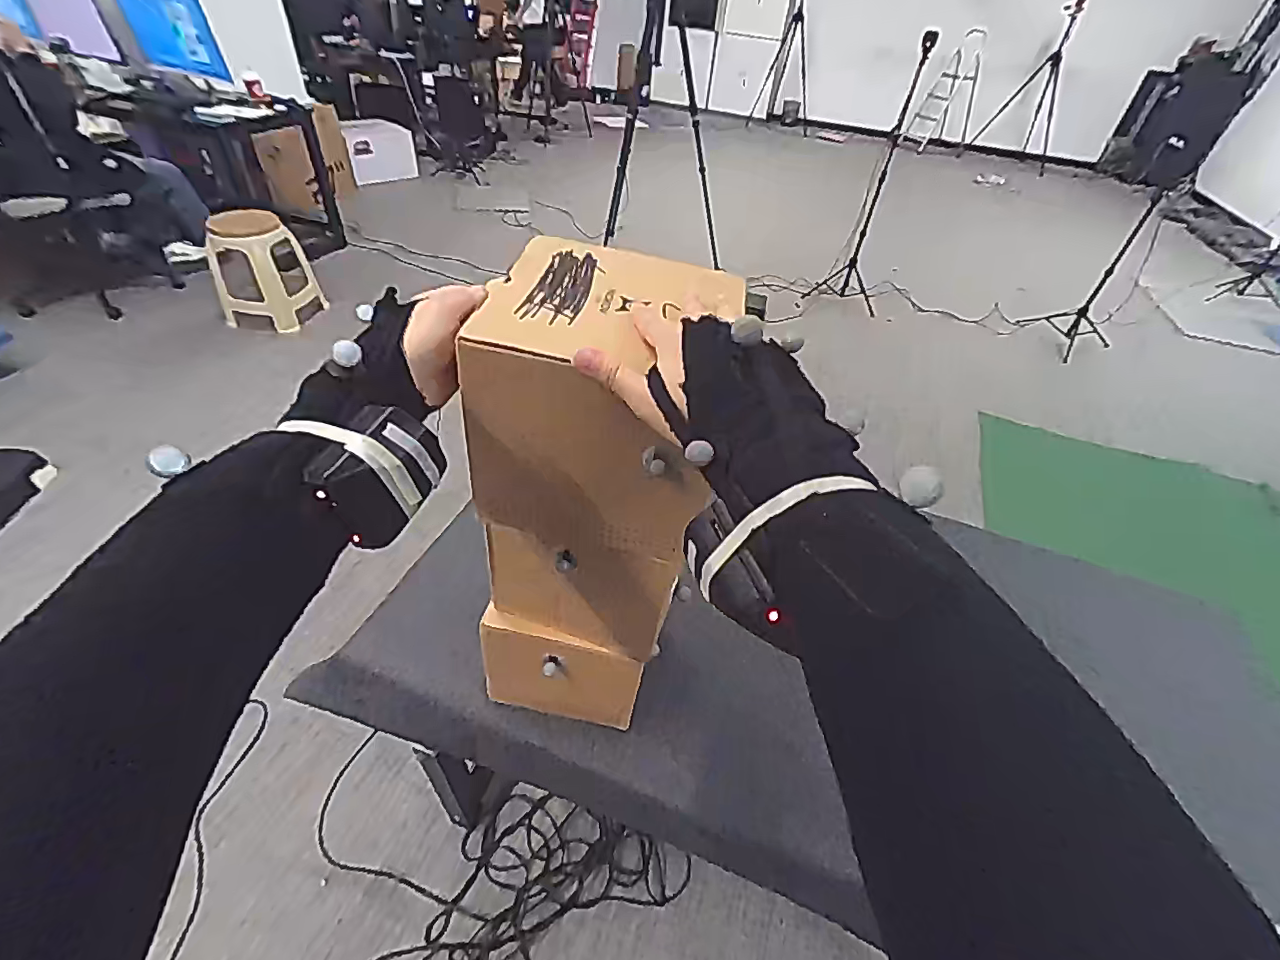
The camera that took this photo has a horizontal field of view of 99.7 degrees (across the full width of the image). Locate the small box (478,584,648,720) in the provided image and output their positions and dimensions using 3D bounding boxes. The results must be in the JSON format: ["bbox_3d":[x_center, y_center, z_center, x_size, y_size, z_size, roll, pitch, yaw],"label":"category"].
[{"bbox_3d":[-0.075,0.168,0.657,0.179,0.176,0.168,11,42,4],"label":"small box"}]

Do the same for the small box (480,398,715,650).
[{"bbox_3d":[-0.040,0.046,0.554,0.179,0.176,0.168,17,44,9],"label":"small box"}]
